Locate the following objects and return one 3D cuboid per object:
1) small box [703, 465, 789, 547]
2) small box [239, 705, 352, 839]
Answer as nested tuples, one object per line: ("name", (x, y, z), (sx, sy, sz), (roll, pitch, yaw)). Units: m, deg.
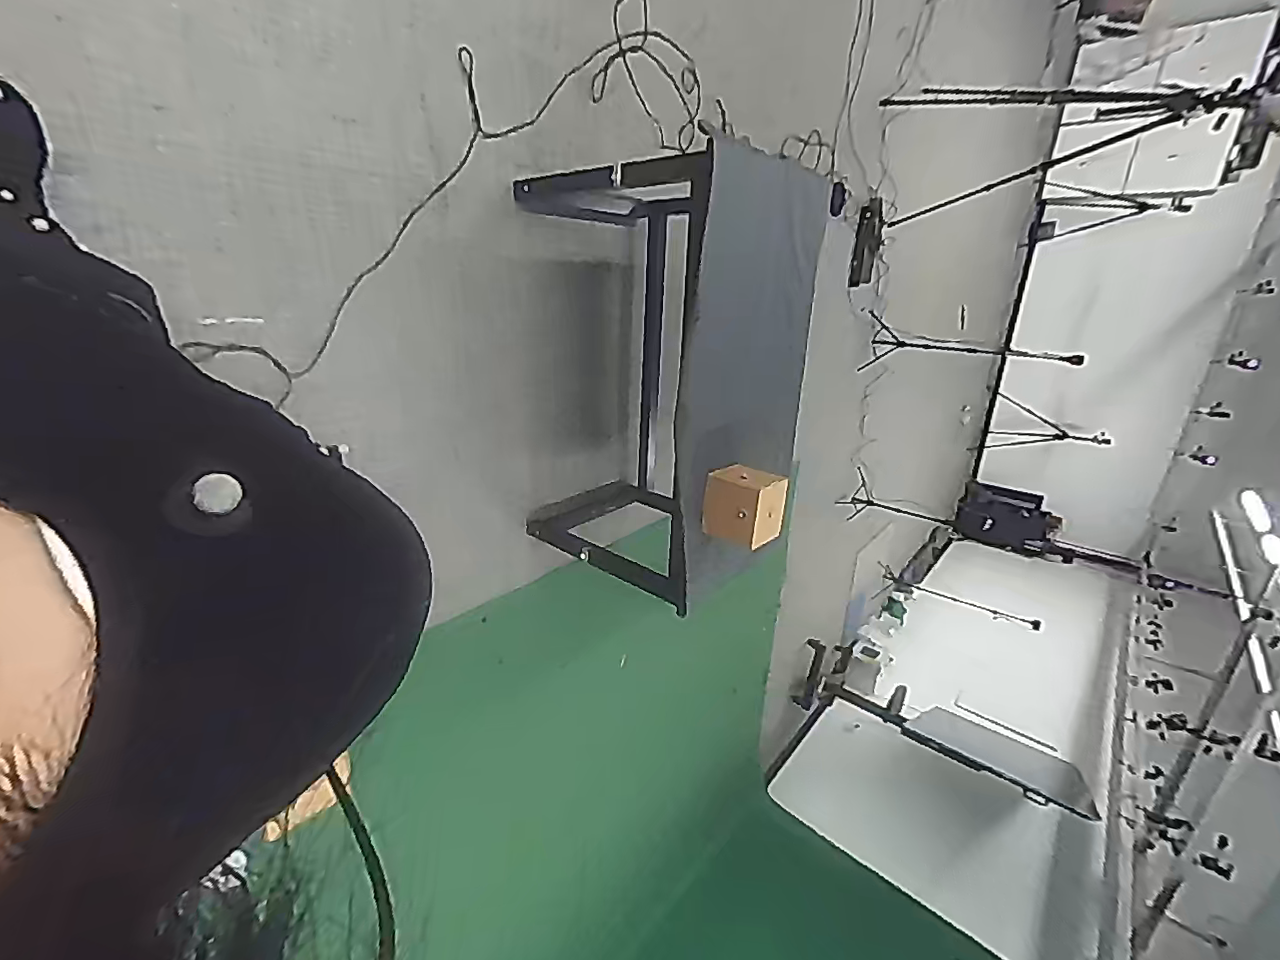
("small box", (0.291, 0.062, 1.506), (0.168, 0.176, 0.179), (-15, 117, -47))
("small box", (-0.798, 0.663, 1.249), (0.179, 0.176, 0.168), (-17, 117, -47))
